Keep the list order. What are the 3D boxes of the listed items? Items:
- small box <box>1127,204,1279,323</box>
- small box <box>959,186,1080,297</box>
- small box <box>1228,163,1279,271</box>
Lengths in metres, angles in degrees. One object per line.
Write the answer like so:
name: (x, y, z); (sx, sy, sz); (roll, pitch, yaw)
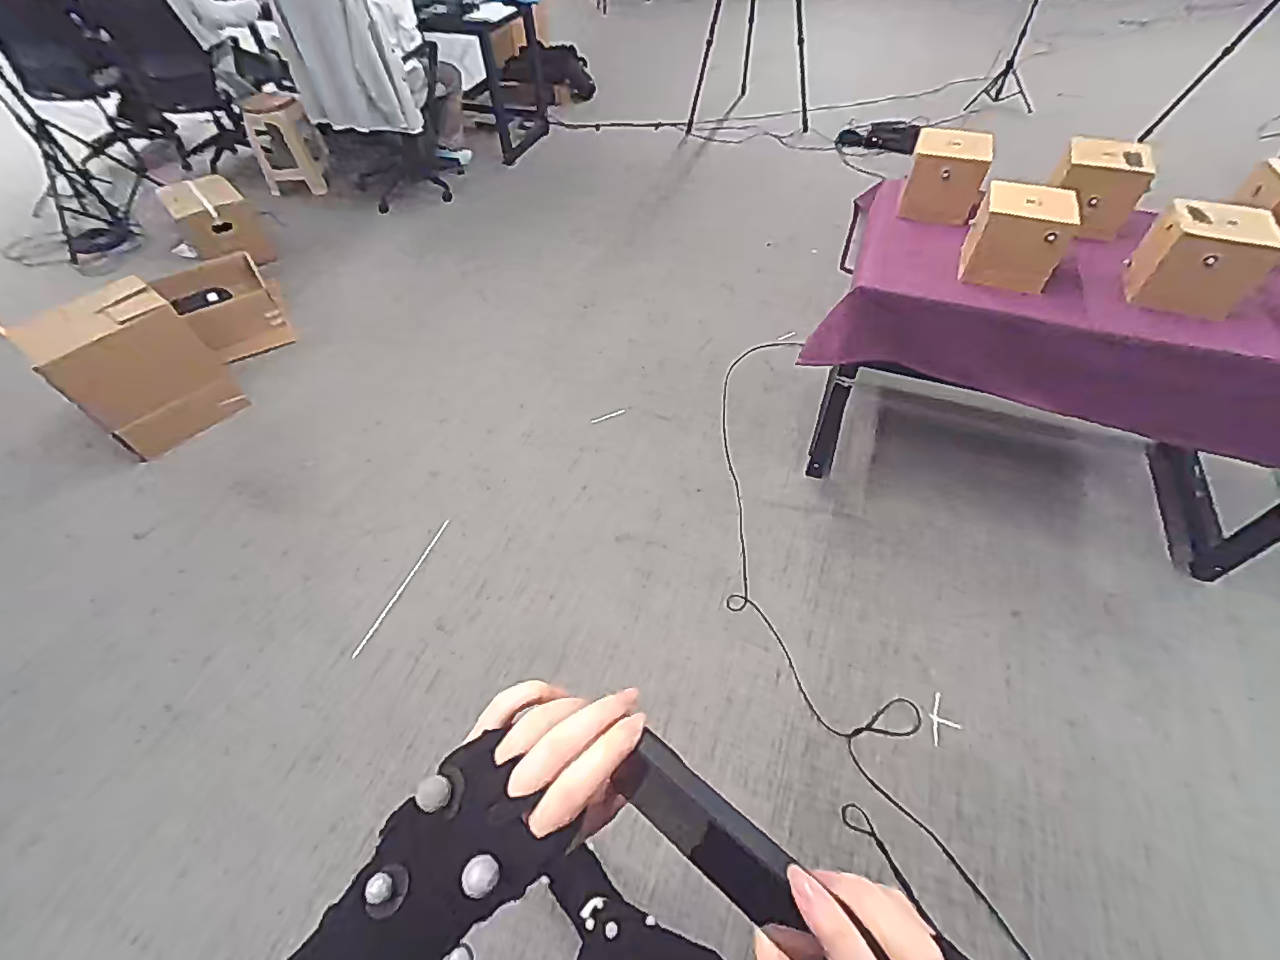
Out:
small box: (1.197, -0.464, 1.165); (0.179, 0.176, 0.168); (20, 55, 16)
small box: (0.864, -0.548, 1.248); (0.179, 0.176, 0.168); (18, 54, 15)
small box: (1.515, -0.611, 1.267); (0.168, 0.176, 0.179); (14, 54, 14)
